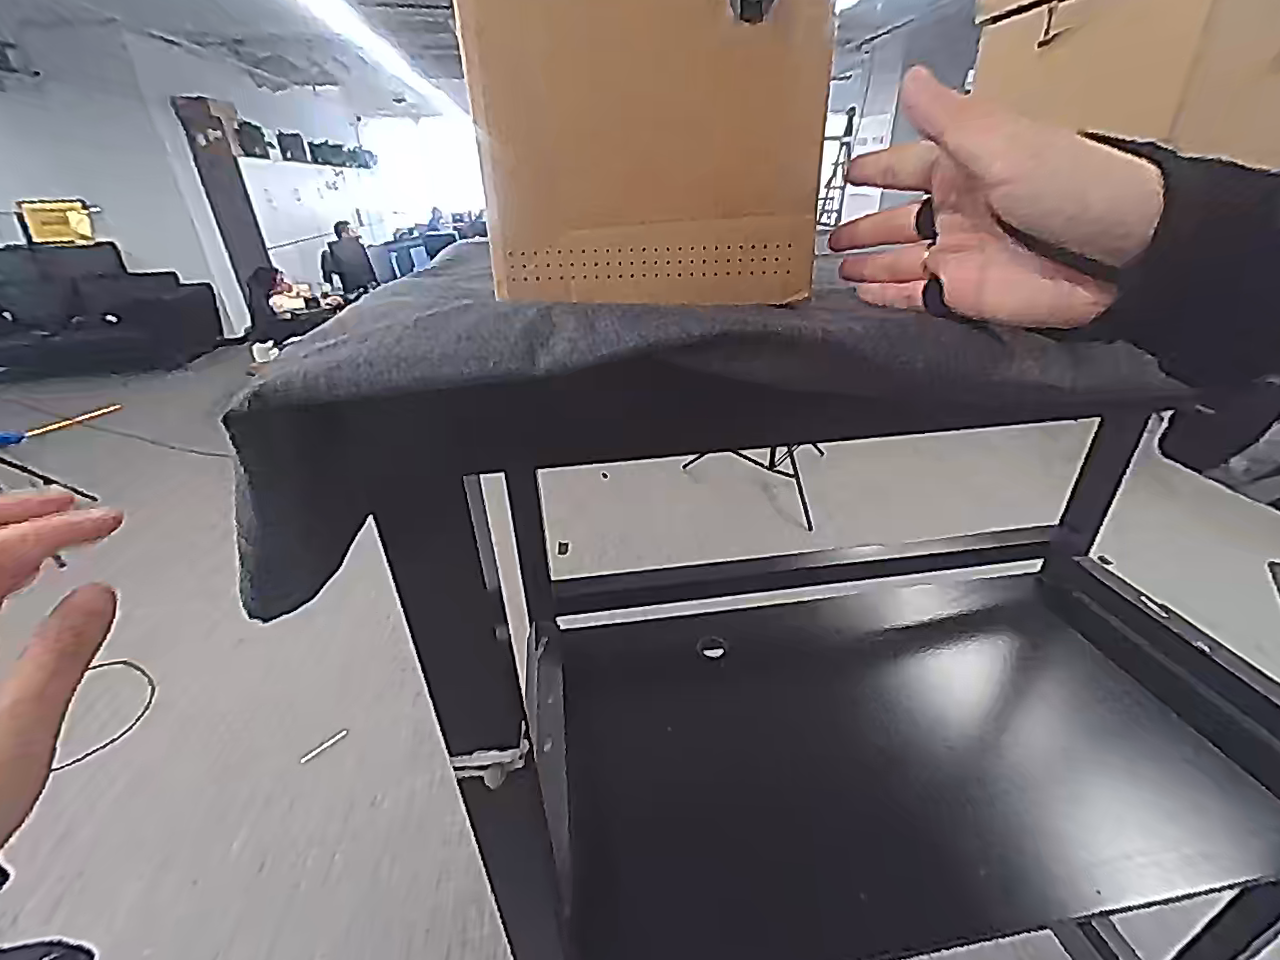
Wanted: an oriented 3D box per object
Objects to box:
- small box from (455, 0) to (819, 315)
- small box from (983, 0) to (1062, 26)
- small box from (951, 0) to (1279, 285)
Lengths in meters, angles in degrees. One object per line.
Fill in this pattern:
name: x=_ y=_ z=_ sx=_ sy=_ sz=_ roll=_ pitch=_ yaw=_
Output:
small box: x=0.002 y=-0.200 z=0.337 sx=0.179 sy=0.176 sz=0.168 roll=-1 pitch=26 yaw=1
small box: x=0.344 y=-0.383 z=0.314 sx=0.179 sy=0.176 sz=0.168 roll=-10 pitch=27 yaw=-14
small box: x=0.353 y=-0.235 z=0.380 sx=0.179 sy=0.176 sz=0.168 roll=-6 pitch=28 yaw=-10
